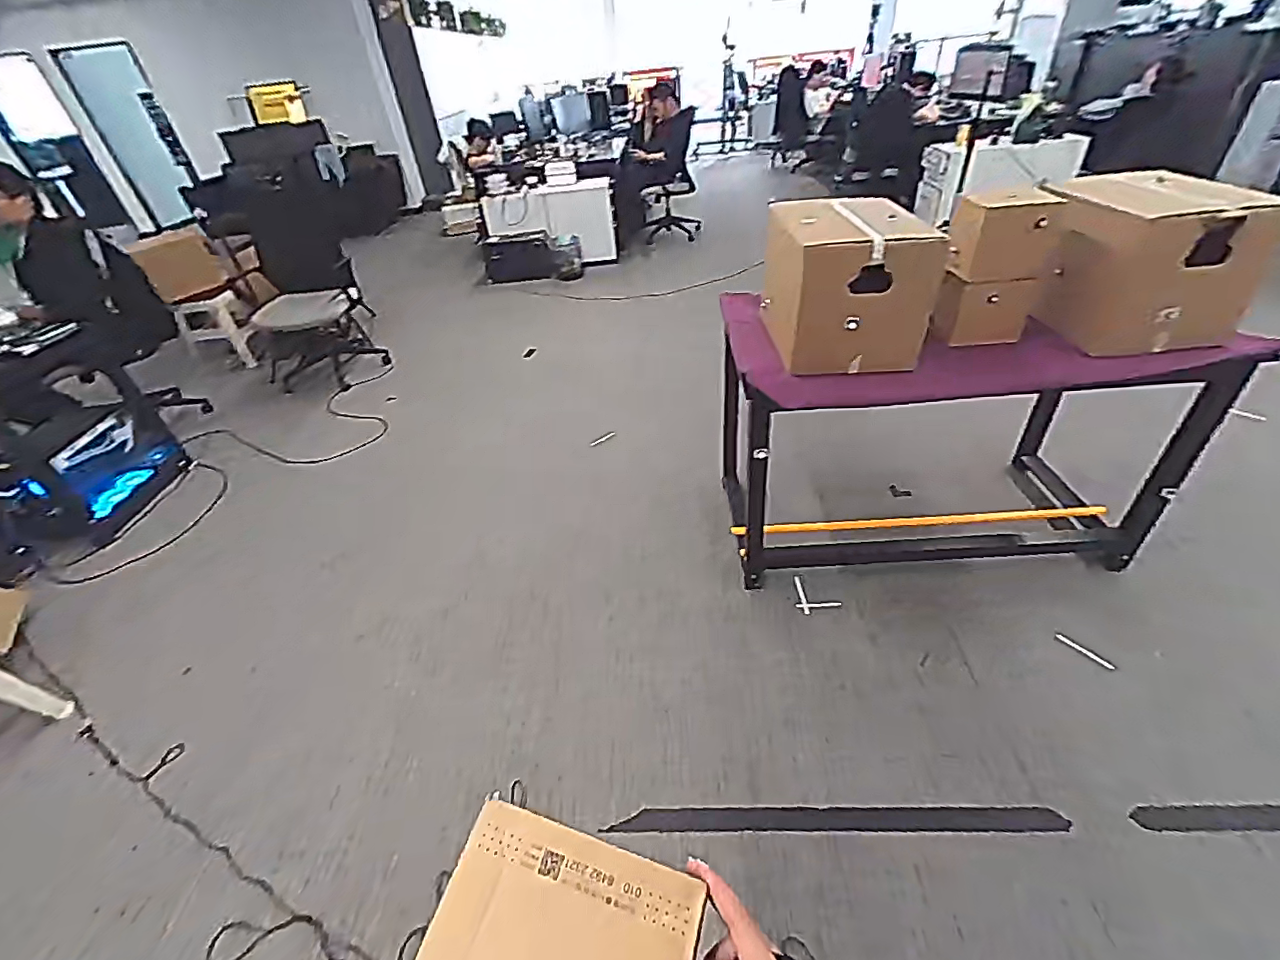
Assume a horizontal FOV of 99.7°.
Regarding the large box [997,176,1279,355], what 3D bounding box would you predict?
[{"bbox_3d":[1.194,-0.543,1.351,0.320,0.320,0.408,-4,36,2],"label":"large box"}]
